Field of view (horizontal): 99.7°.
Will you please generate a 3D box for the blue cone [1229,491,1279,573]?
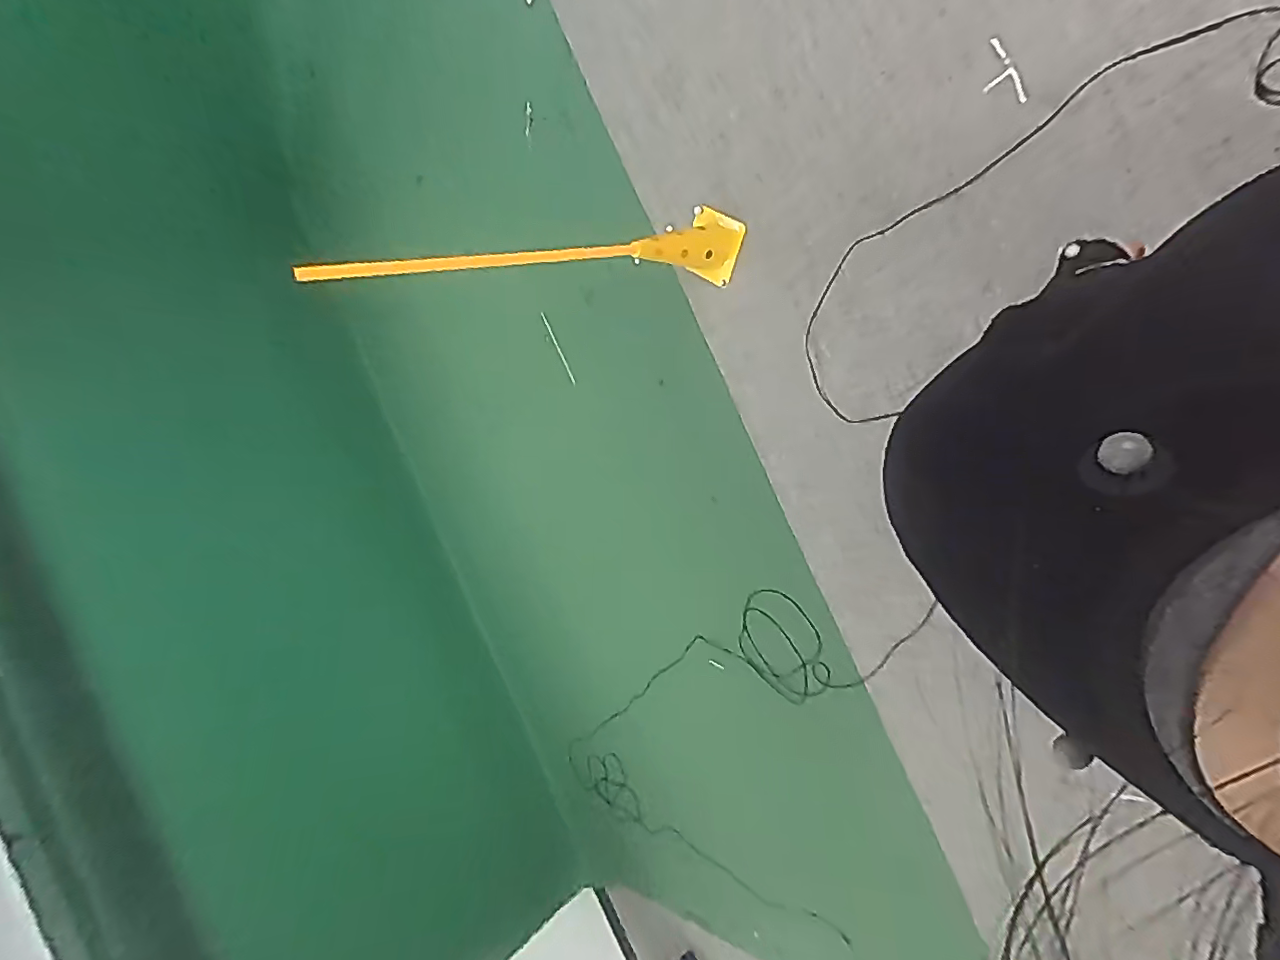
[{"bbox_3d":[1.147,0.159,0.887,0.193,0.380,0.192,32,128,32],"label":"blue cone"}]
